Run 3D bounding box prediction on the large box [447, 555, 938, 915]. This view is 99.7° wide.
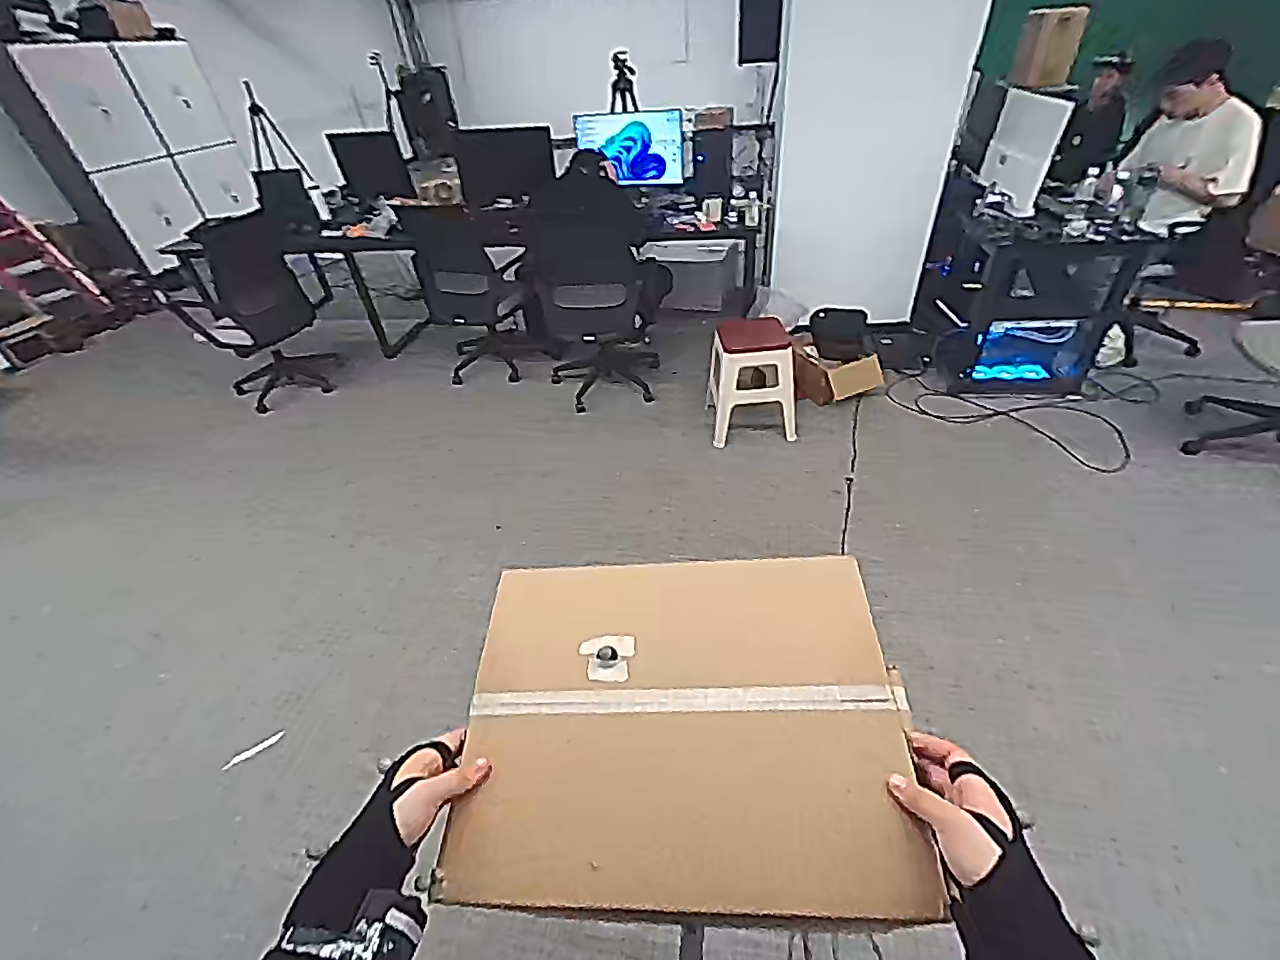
[{"bbox_3d":[0.059,0.312,0.638,0.408,0.320,0.320,-5,48,8],"label":"large box"}]
